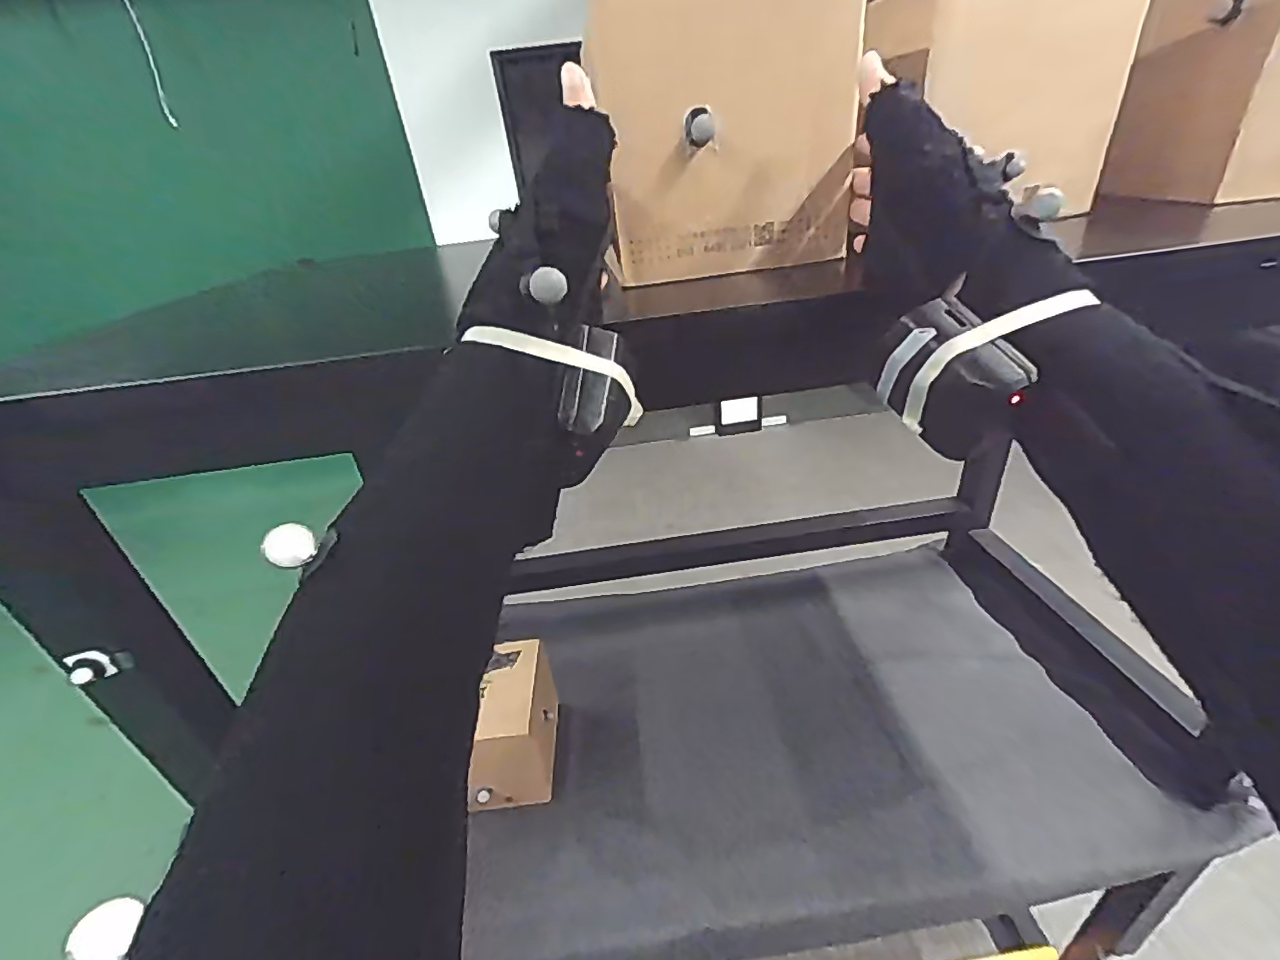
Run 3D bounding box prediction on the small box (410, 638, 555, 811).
[{"bbox_3d":[-0.231,0.379,0.848,0.168,0.176,0.179,-7,31,-1],"label":"small box"}]
